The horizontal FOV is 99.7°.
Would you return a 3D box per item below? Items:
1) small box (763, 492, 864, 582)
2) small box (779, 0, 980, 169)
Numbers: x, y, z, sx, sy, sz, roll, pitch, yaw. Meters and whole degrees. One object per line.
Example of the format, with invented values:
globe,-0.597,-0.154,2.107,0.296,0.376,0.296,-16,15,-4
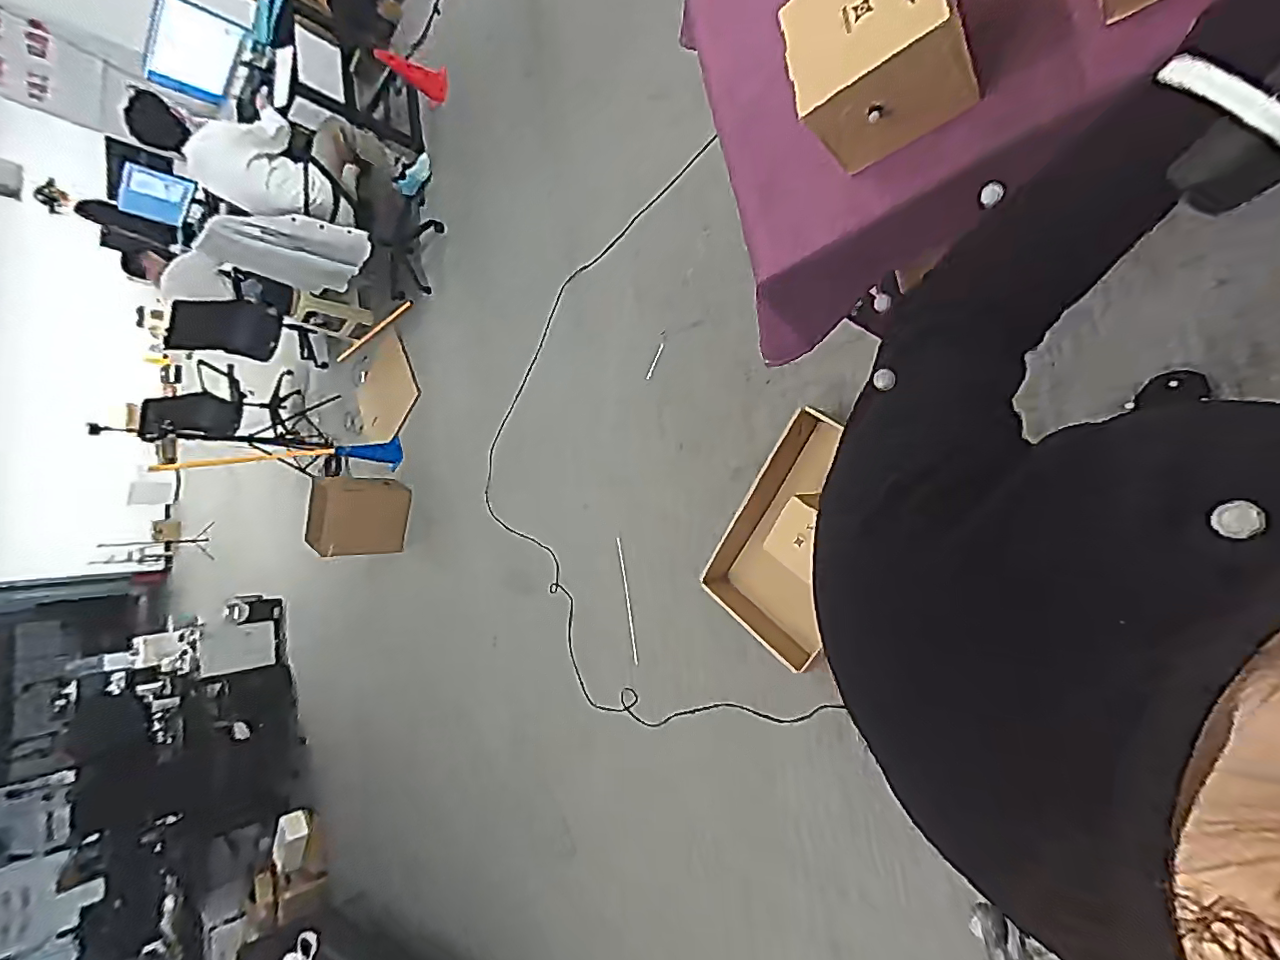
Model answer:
small box,0.472,0.148,1.460,0.168,0.176,0.179,40,116,33
small box,0.310,-0.550,0.703,0.179,0.176,0.168,-16,80,42
